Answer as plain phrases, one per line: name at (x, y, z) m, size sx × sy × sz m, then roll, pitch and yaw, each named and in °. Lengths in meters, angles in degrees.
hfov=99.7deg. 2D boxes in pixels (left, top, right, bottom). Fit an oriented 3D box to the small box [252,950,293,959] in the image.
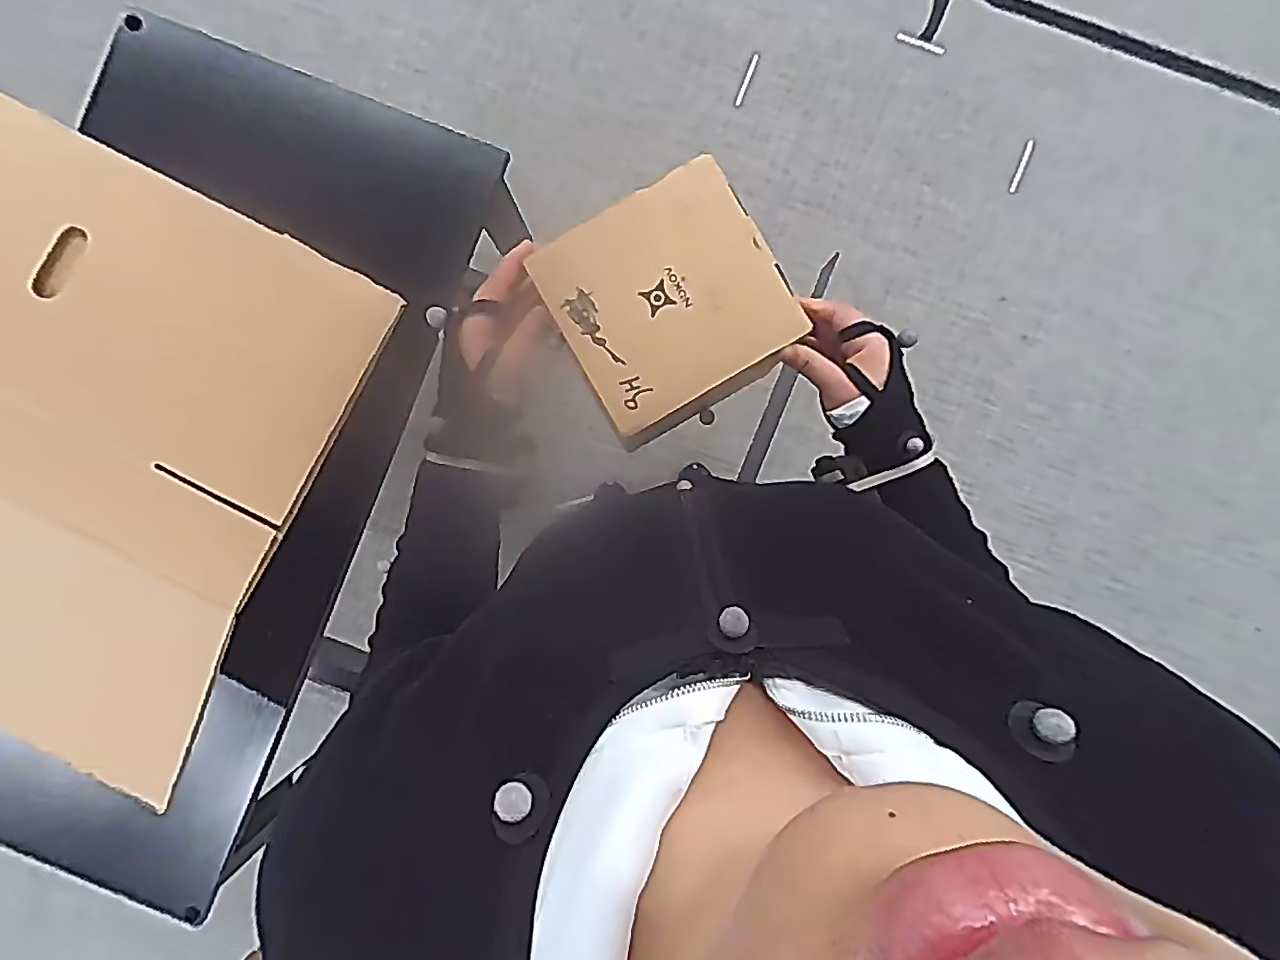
small box at (-0.891, 1.260, 1.264) m, size 0.179 × 0.176 × 0.168 m, roll 15°, pitch 89°, yaw 1°
